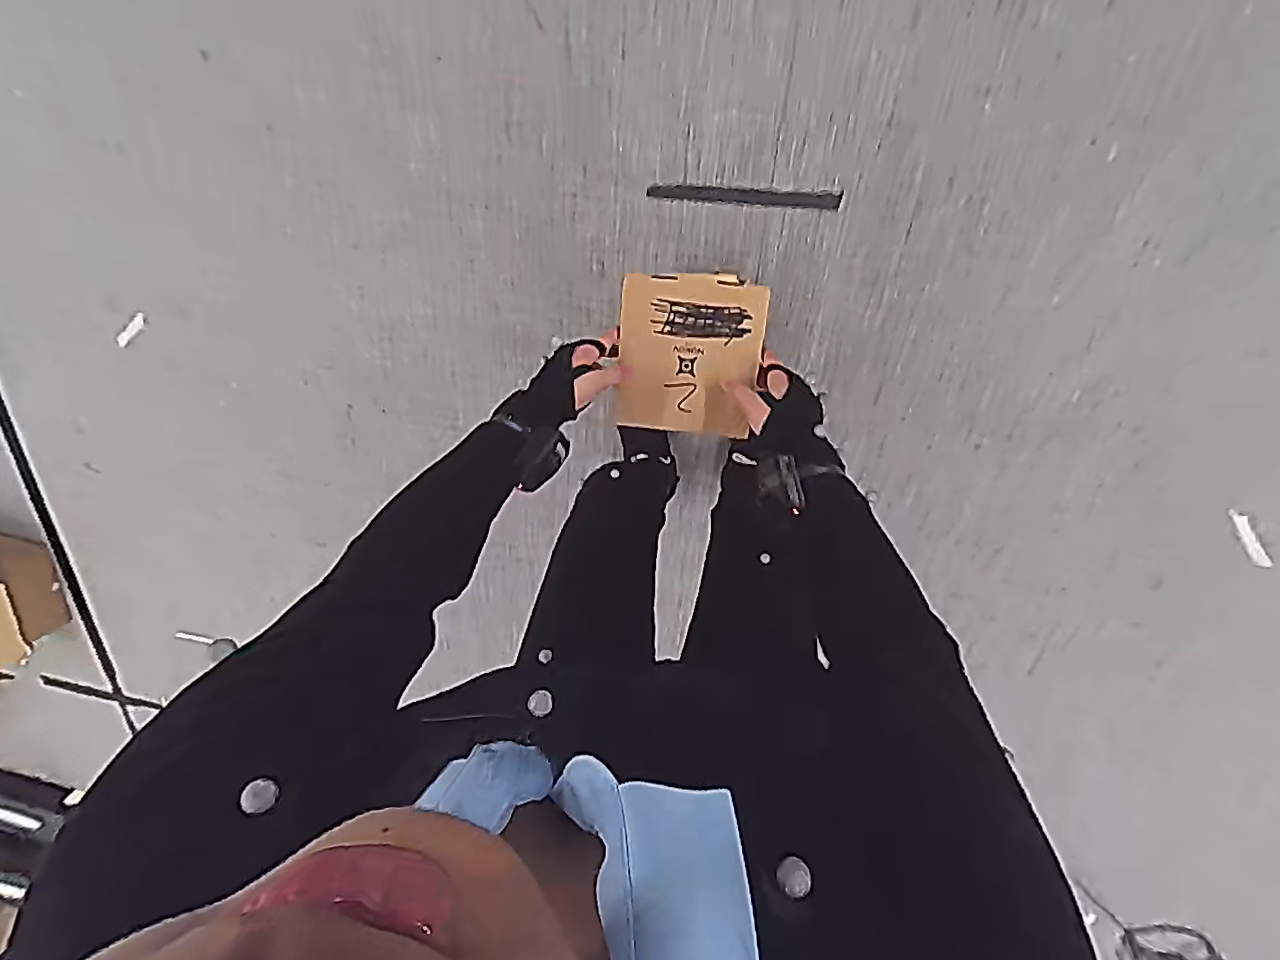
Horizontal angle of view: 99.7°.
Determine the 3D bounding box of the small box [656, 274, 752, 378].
[{"bbox_3d":[0.124,-0.304,1.046,0.168,0.176,0.179,4,114,9],"label":"small box"}]
